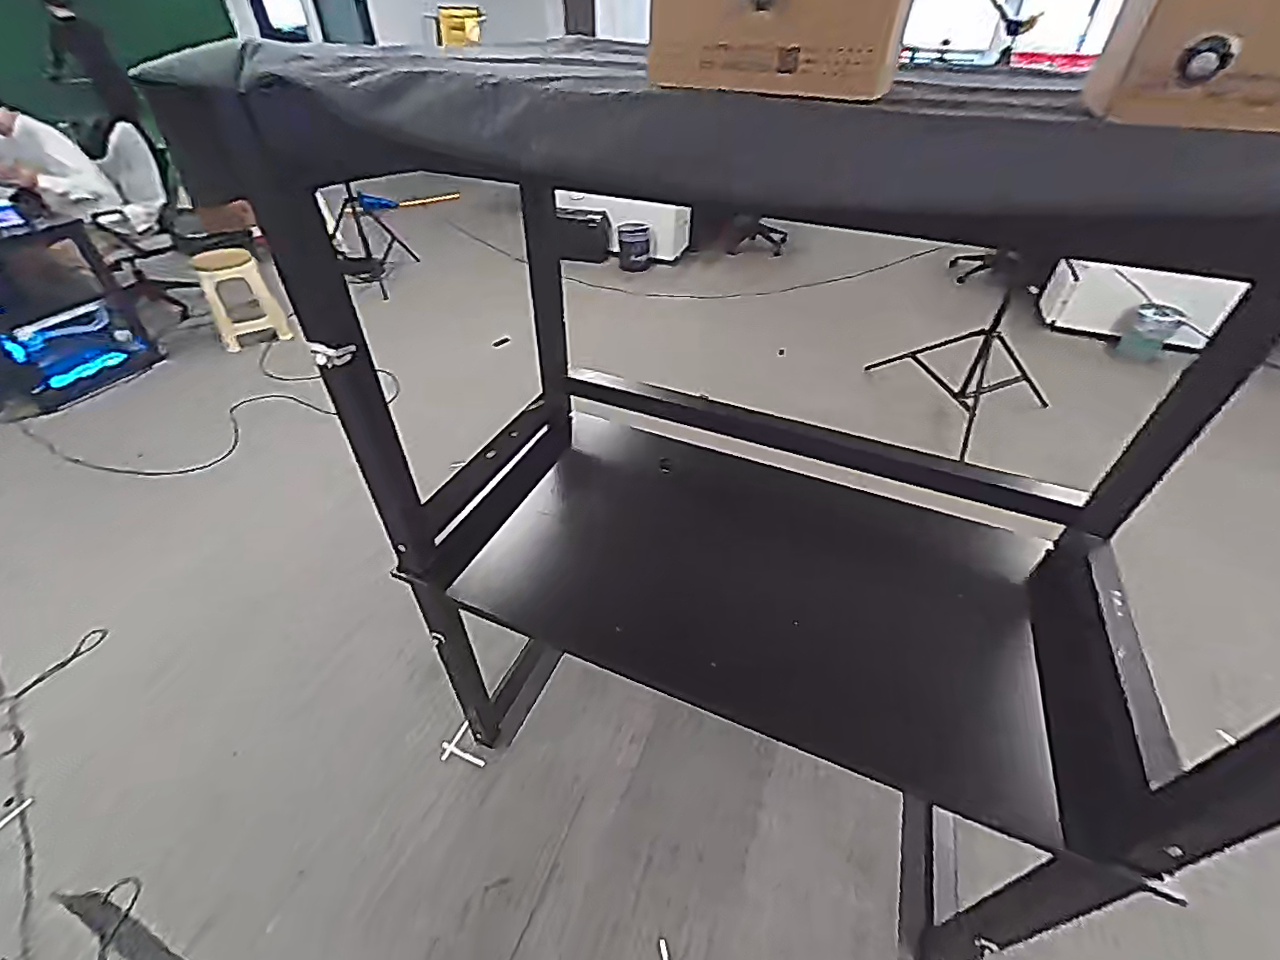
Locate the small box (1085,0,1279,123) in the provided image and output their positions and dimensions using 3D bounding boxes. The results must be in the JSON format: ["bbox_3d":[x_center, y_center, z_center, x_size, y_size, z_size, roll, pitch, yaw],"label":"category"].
[{"bbox_3d":[0.397,-0.307,0.308,0.168,0.176,0.179,20,42,20],"label":"small box"}]

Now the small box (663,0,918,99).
[{"bbox_3d":[0.121,-0.389,0.394,0.168,0.176,0.179,16,40,17],"label":"small box"}]
